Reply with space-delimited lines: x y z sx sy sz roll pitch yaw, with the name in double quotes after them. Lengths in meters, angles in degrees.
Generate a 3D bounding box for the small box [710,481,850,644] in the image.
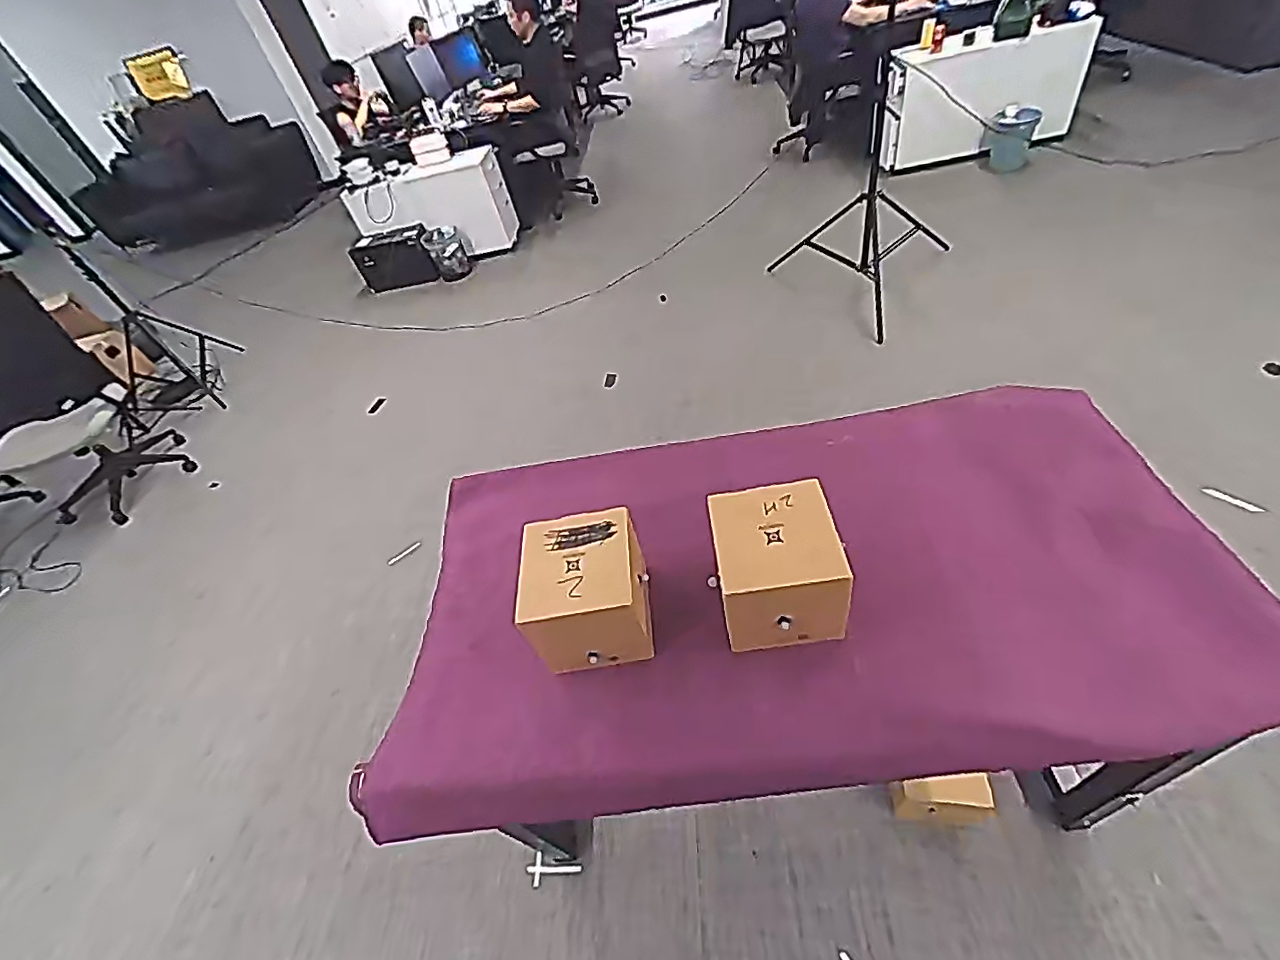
0.202 0.130 0.806 0.168 0.176 0.179 -8 45 7 "small box"

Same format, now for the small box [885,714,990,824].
0.656 0.650 1.213 0.168 0.176 0.179 -2 46 15 "small box"
